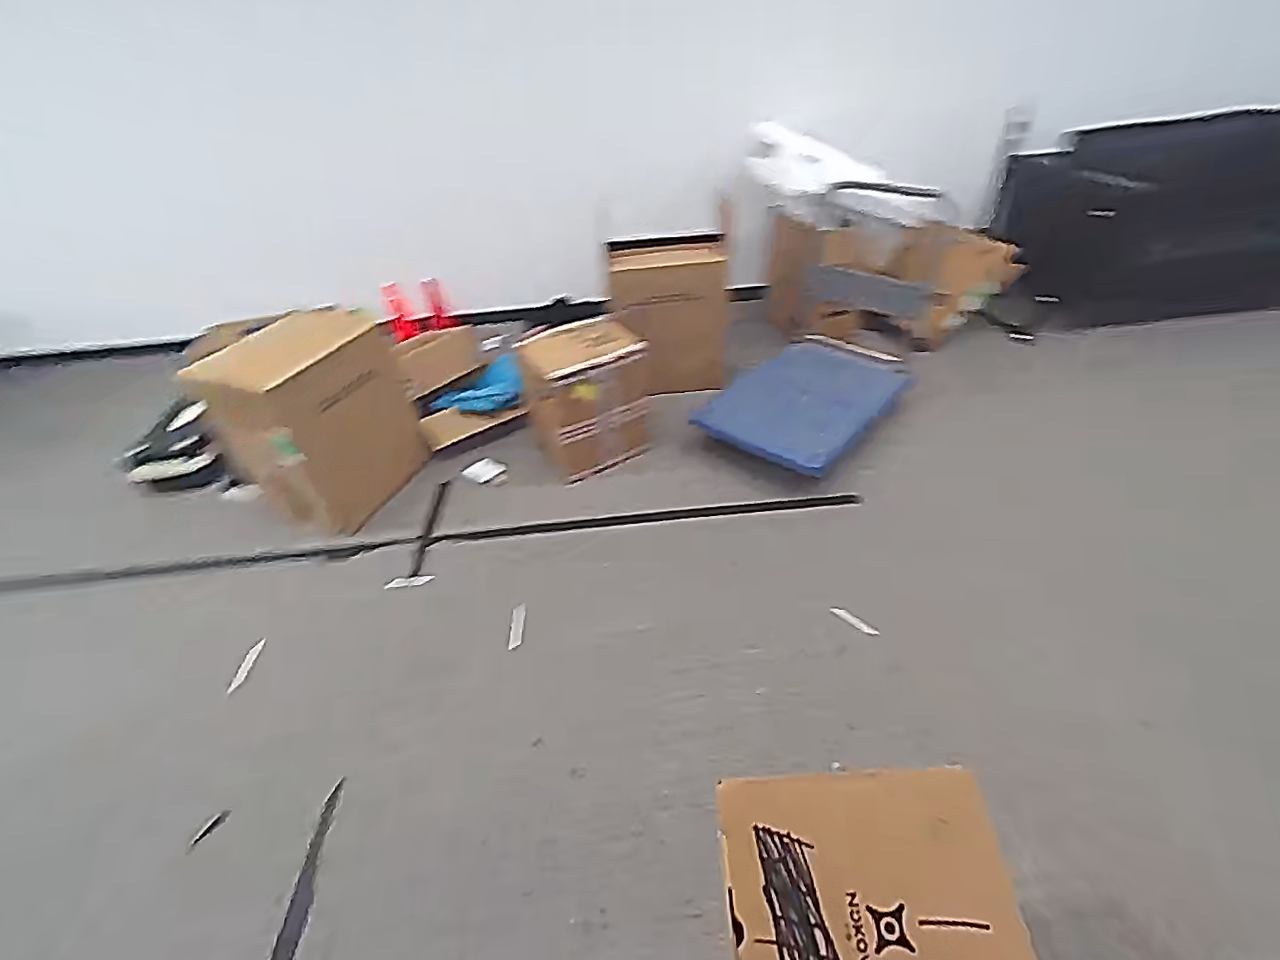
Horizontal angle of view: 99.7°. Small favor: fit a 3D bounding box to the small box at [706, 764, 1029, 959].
[{"bbox_3d":[0.151,0.315,0.394,0.179,0.176,0.168,-9,55,6],"label":"small box"}]
